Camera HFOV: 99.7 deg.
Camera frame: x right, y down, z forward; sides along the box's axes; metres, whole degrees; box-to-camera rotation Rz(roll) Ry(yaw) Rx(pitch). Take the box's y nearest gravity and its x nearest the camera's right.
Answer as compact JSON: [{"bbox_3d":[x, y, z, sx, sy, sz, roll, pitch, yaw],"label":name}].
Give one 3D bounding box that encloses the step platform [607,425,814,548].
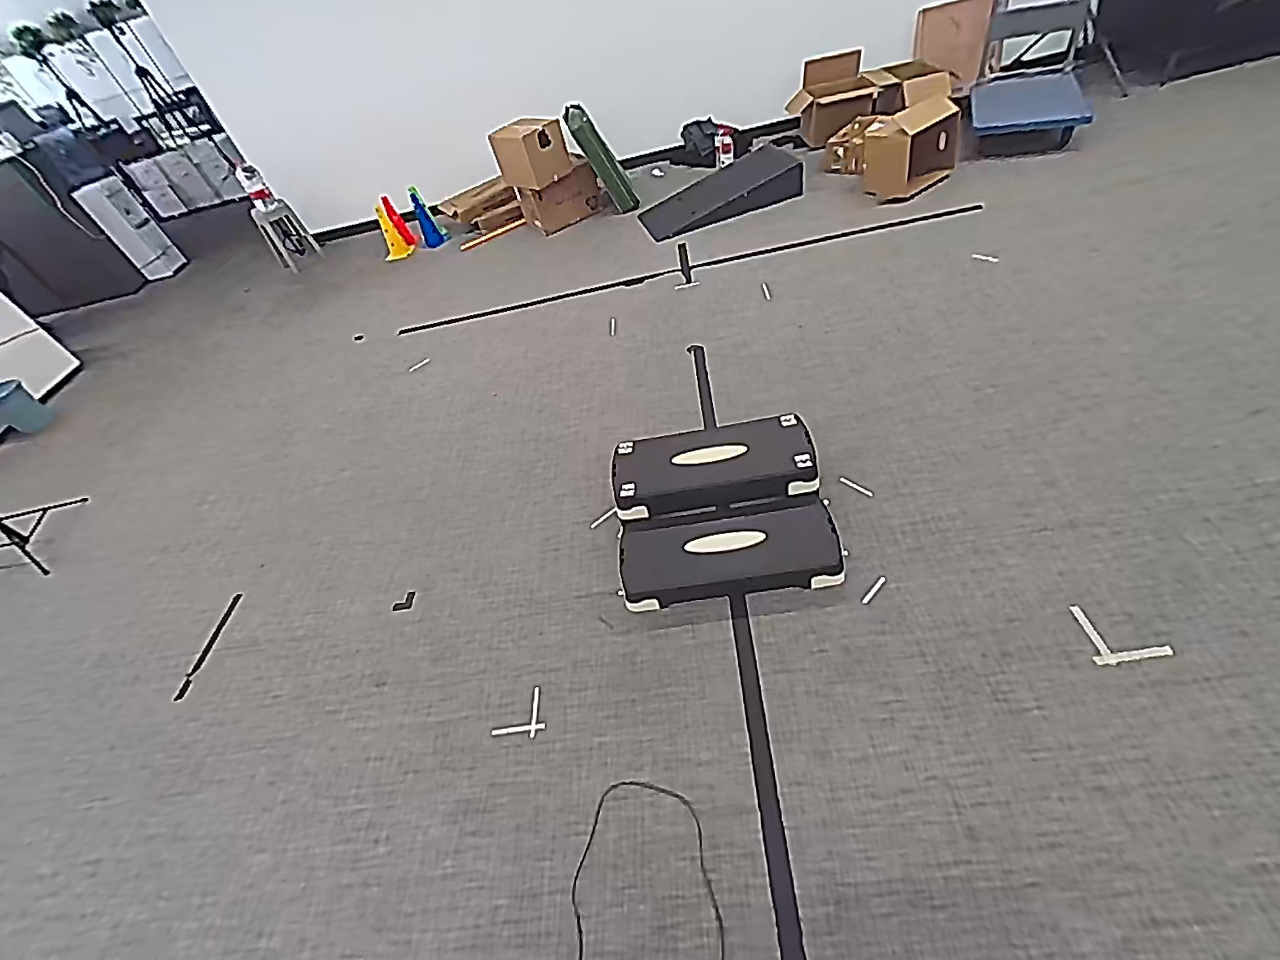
[{"bbox_3d":[0.228,0.018,1.838,0.684,0.204,0.286,-10,46,6],"label":"step platform"}]
